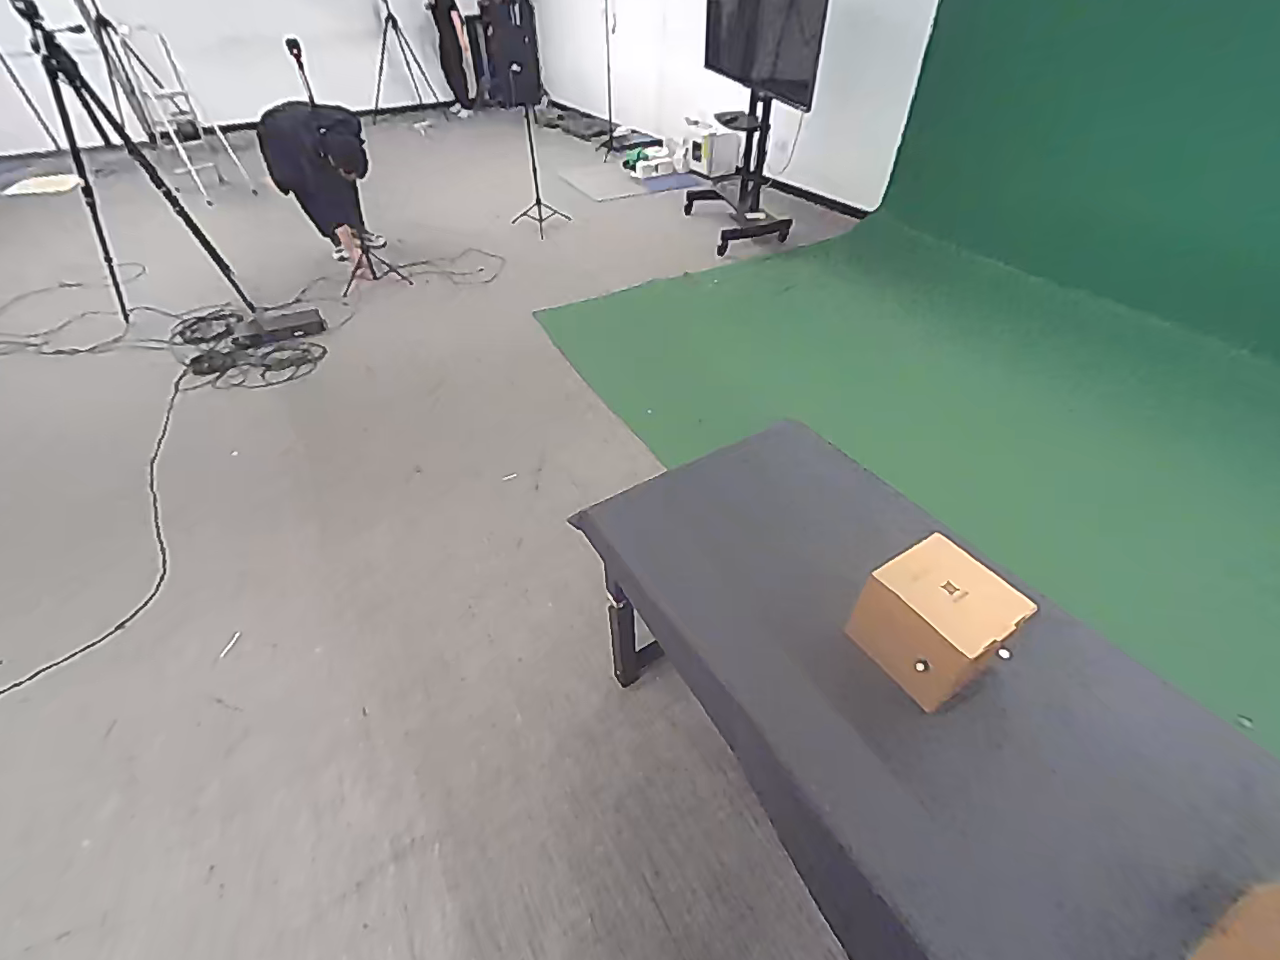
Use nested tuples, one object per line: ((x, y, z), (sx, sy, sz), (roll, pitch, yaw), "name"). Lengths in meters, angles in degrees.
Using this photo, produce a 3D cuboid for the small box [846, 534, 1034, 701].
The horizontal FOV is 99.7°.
((0.469, 0.226, 0.872), (0.168, 0.176, 0.179), (-22, 47, -24), "small box")
